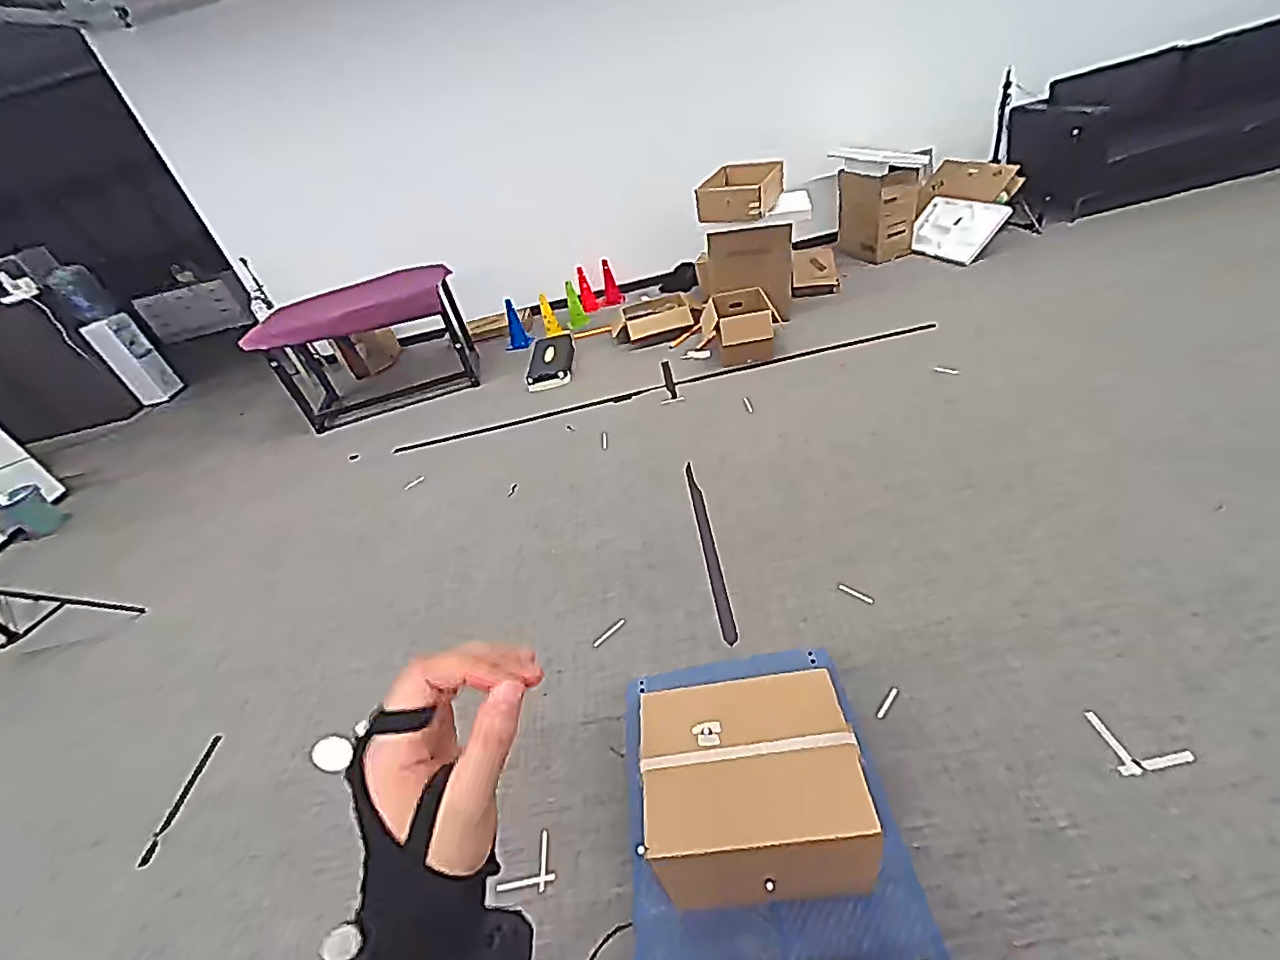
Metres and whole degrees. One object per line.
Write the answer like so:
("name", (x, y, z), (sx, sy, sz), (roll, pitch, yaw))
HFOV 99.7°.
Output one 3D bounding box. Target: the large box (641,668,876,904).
("large box", (0.235, 0.645, 1.138), (0.408, 0.320, 0.320), (-11, 36, 6))
